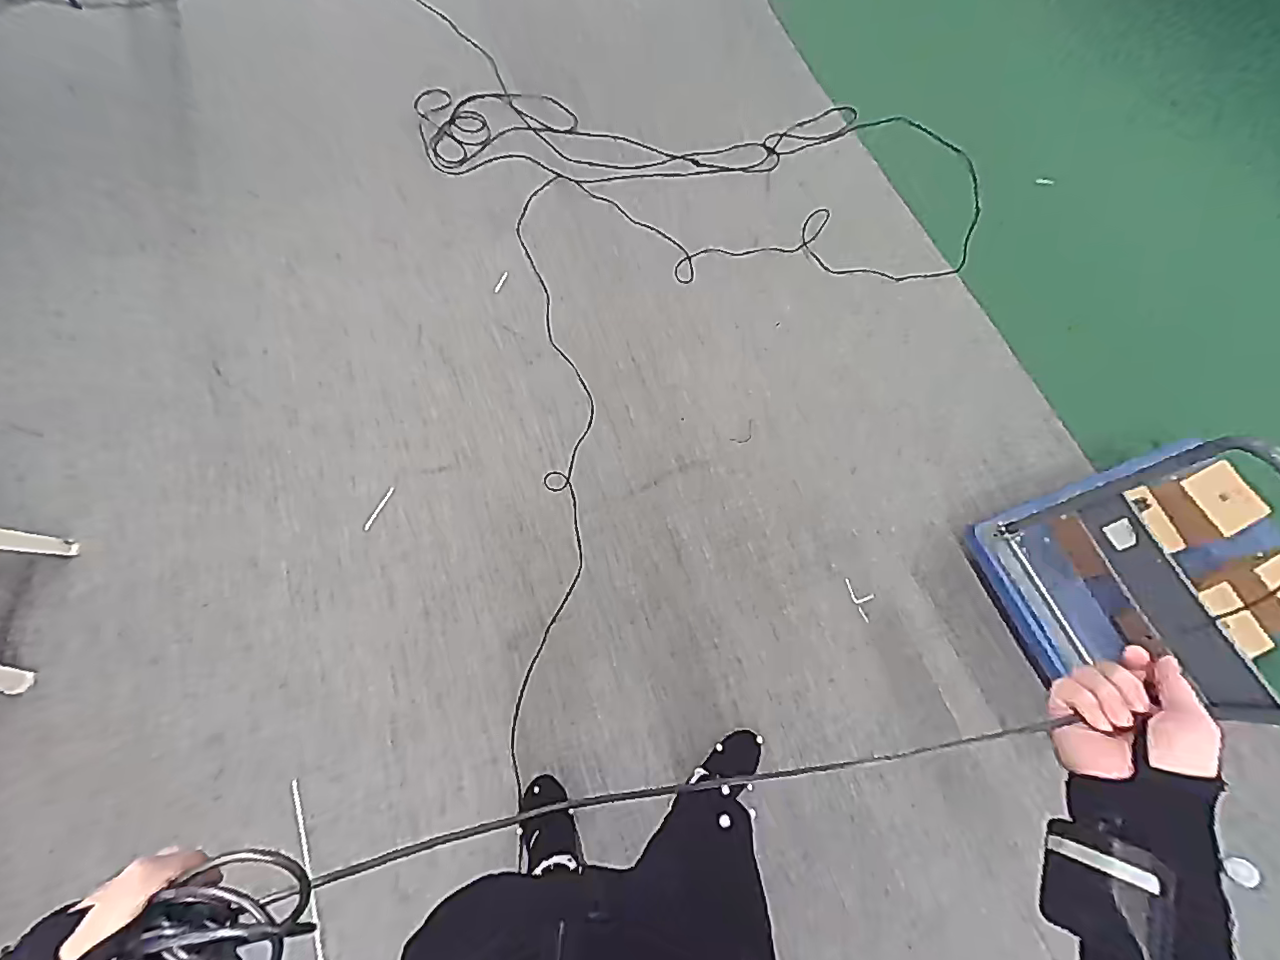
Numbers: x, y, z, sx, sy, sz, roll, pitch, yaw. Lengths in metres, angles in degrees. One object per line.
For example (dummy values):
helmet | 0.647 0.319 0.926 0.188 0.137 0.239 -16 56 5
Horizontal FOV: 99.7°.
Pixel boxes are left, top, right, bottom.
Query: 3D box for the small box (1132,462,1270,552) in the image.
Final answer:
small box | 1.504 0.080 1.470 0.179 0.176 0.168 -22 72 -12

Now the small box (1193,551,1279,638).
small box | 1.610 0.294 1.390 0.179 0.176 0.168 -22 71 -11

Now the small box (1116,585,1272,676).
small box | 1.358 0.376 1.339 0.179 0.176 0.168 -17 71 -10
